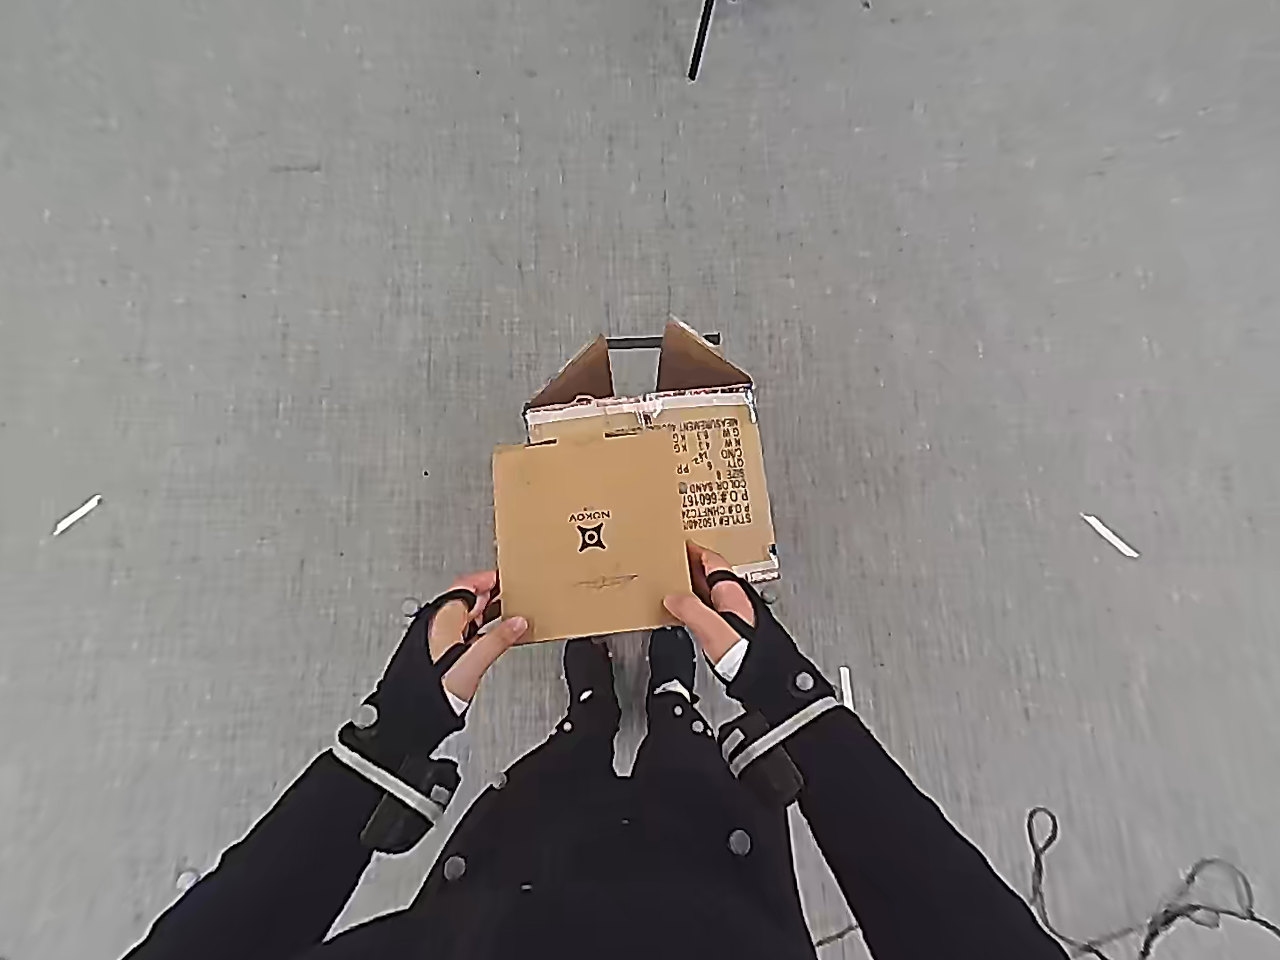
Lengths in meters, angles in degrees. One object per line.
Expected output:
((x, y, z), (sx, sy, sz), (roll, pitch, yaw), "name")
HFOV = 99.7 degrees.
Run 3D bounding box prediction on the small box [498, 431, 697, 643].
((-0.041, 0.063, 0.560), (0.168, 0.176, 0.179), (-7, 80, -1), "small box")
